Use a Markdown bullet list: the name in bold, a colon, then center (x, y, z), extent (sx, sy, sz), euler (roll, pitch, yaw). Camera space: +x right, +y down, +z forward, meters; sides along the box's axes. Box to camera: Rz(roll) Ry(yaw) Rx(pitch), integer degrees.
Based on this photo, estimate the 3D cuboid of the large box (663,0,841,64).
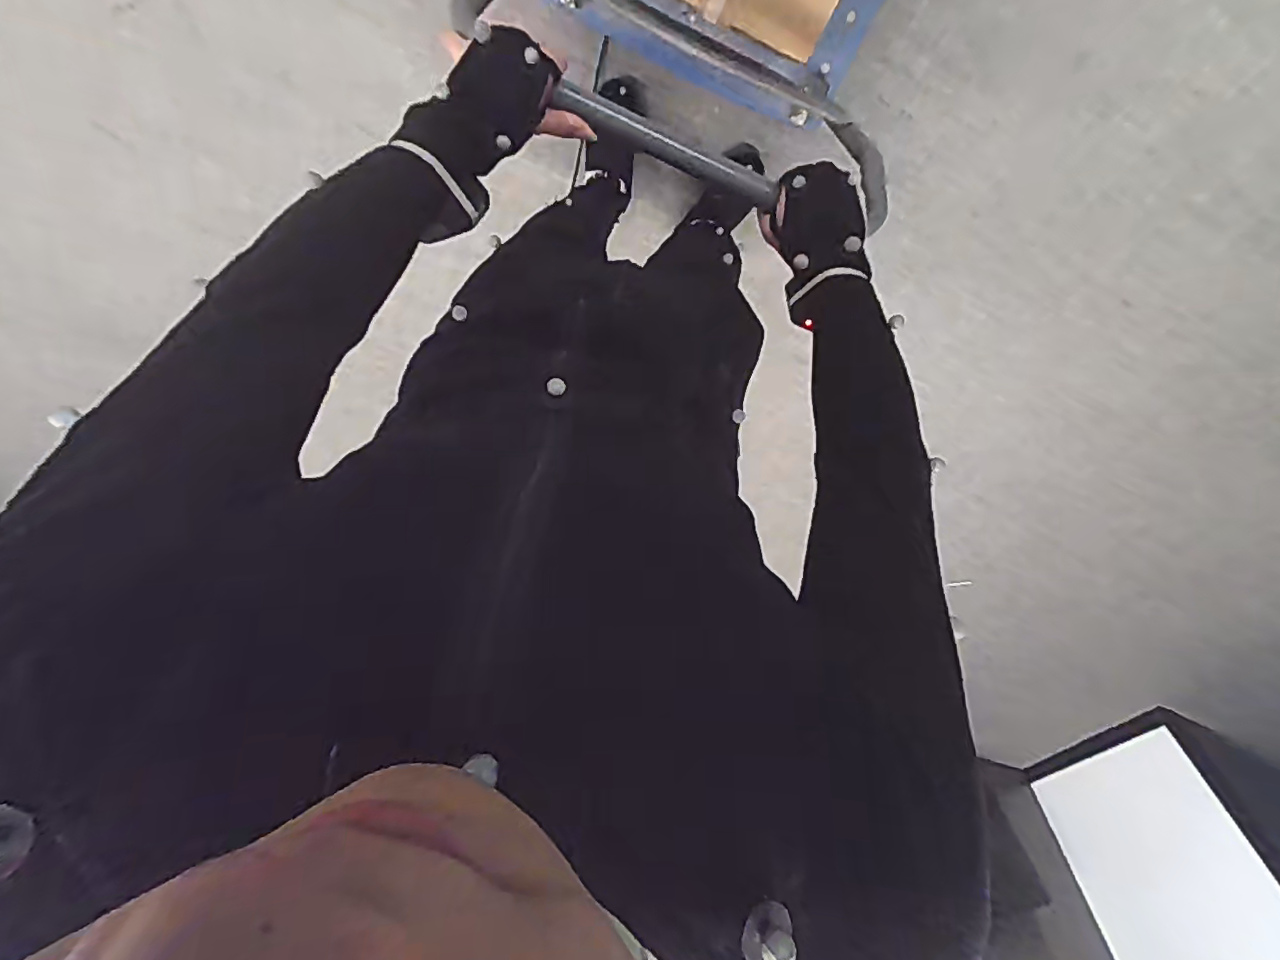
- **large box**: center (0.185, -0.882, 0.754), extent (0.320, 0.320, 0.408), euler (19, 129, -11)
